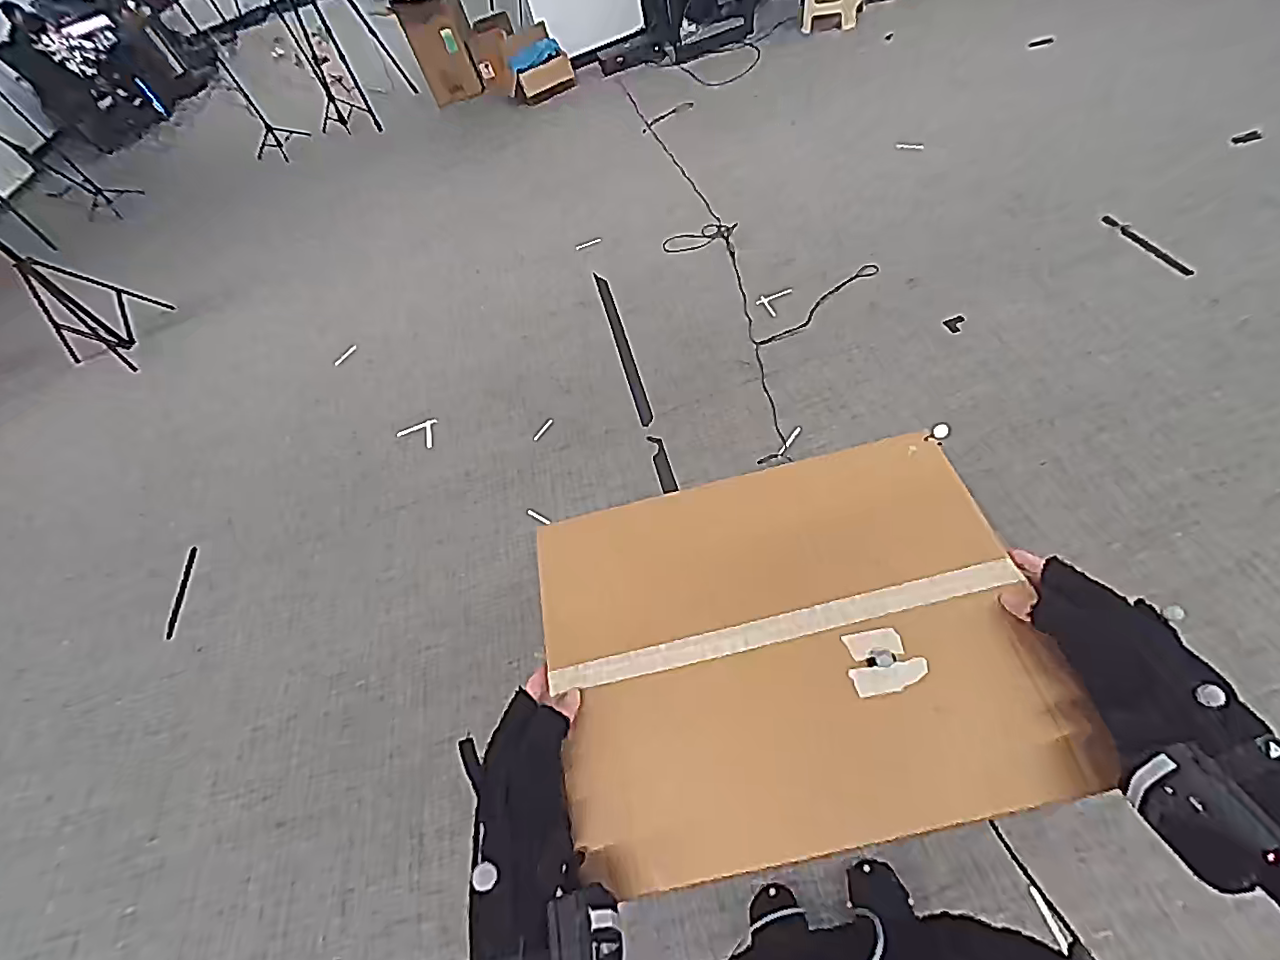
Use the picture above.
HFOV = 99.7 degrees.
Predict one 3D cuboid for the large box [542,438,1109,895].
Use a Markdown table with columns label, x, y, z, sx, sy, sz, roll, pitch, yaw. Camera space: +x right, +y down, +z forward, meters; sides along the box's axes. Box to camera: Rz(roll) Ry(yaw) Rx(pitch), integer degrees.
| label | x | y | z | sx | sy | sz | roll | pitch | yaw |
| --- | --- | --- | --- | --- | --- | --- | --- | --- | --- |
| large box | 0.141 | 0.209 | 0.596 | 0.408 | 0.320 | 0.320 | -14 | 57 | 1 |
